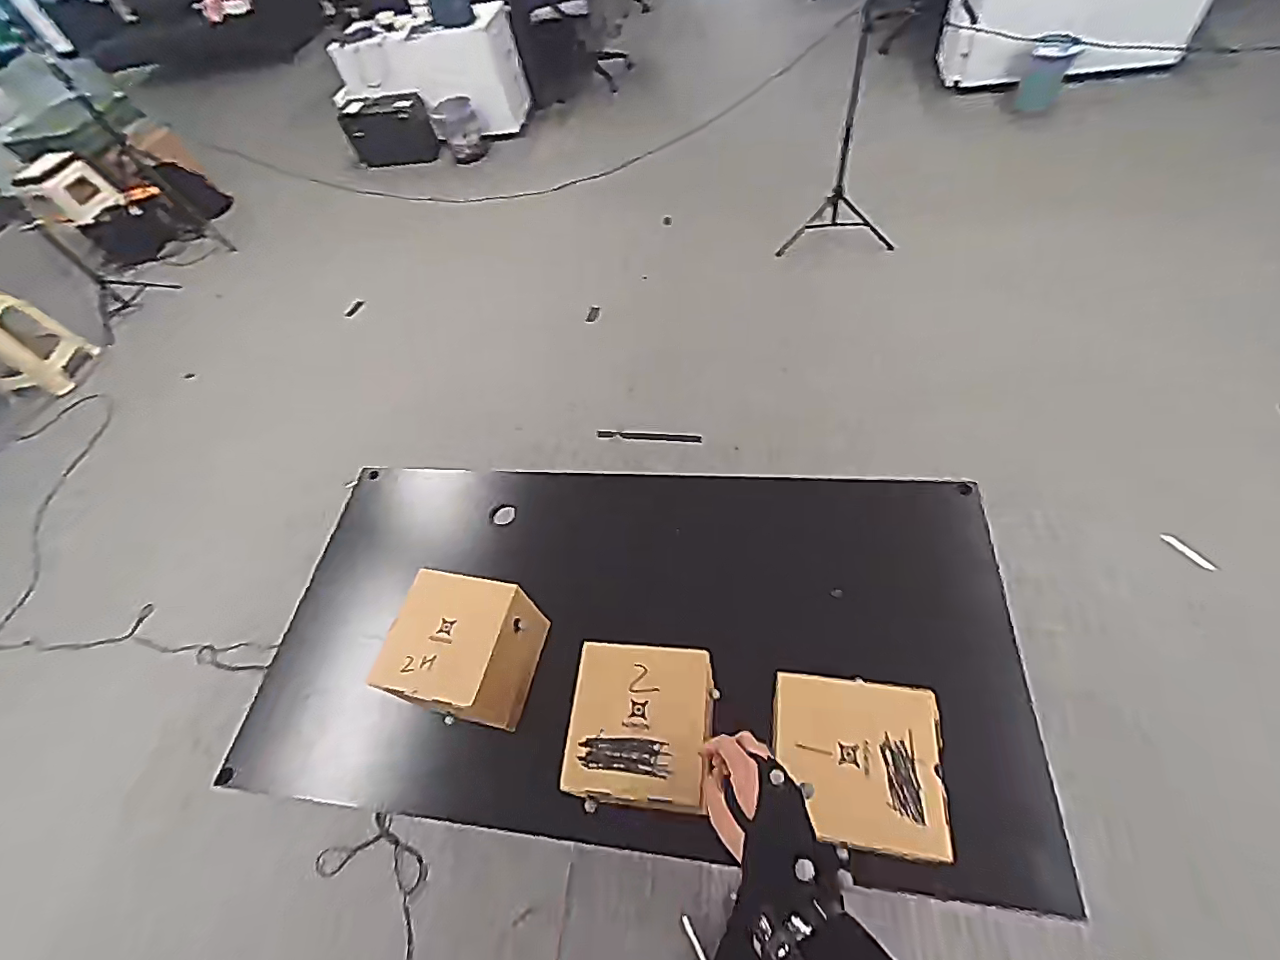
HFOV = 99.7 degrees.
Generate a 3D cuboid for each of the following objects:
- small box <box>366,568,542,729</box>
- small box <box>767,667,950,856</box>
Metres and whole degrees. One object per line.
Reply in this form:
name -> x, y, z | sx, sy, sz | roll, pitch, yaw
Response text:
small box -> -0.263, 0.256, 0.817 | 0.168, 0.176, 0.179 | 6, 58, 15
small box -> 0.250, 0.344, 0.662 | 0.179, 0.176, 0.168 | 2, 57, 13
